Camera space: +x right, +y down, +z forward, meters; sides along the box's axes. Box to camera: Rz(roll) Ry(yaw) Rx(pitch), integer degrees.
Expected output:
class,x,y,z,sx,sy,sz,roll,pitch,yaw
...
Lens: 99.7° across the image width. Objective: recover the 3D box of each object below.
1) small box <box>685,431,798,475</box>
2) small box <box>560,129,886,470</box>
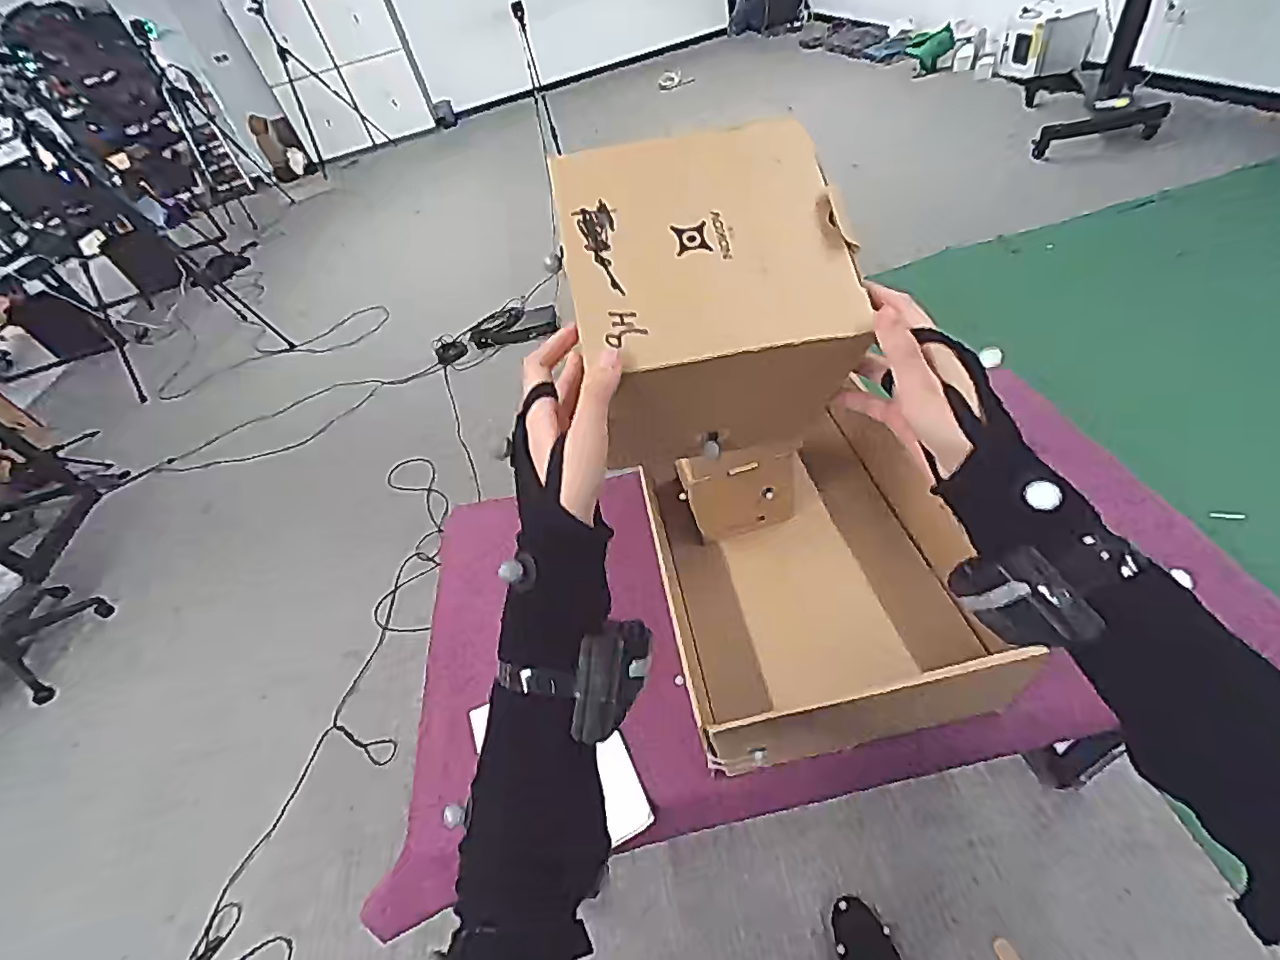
class,x,y,z,sx,sy,sz,roll,pitch,yaw
small box,0.128,-0.135,0.796,0.179,0.176,0.168,-17,45,0
small box,0.042,-0.119,0.403,0.179,0.176,0.168,-9,71,-5
